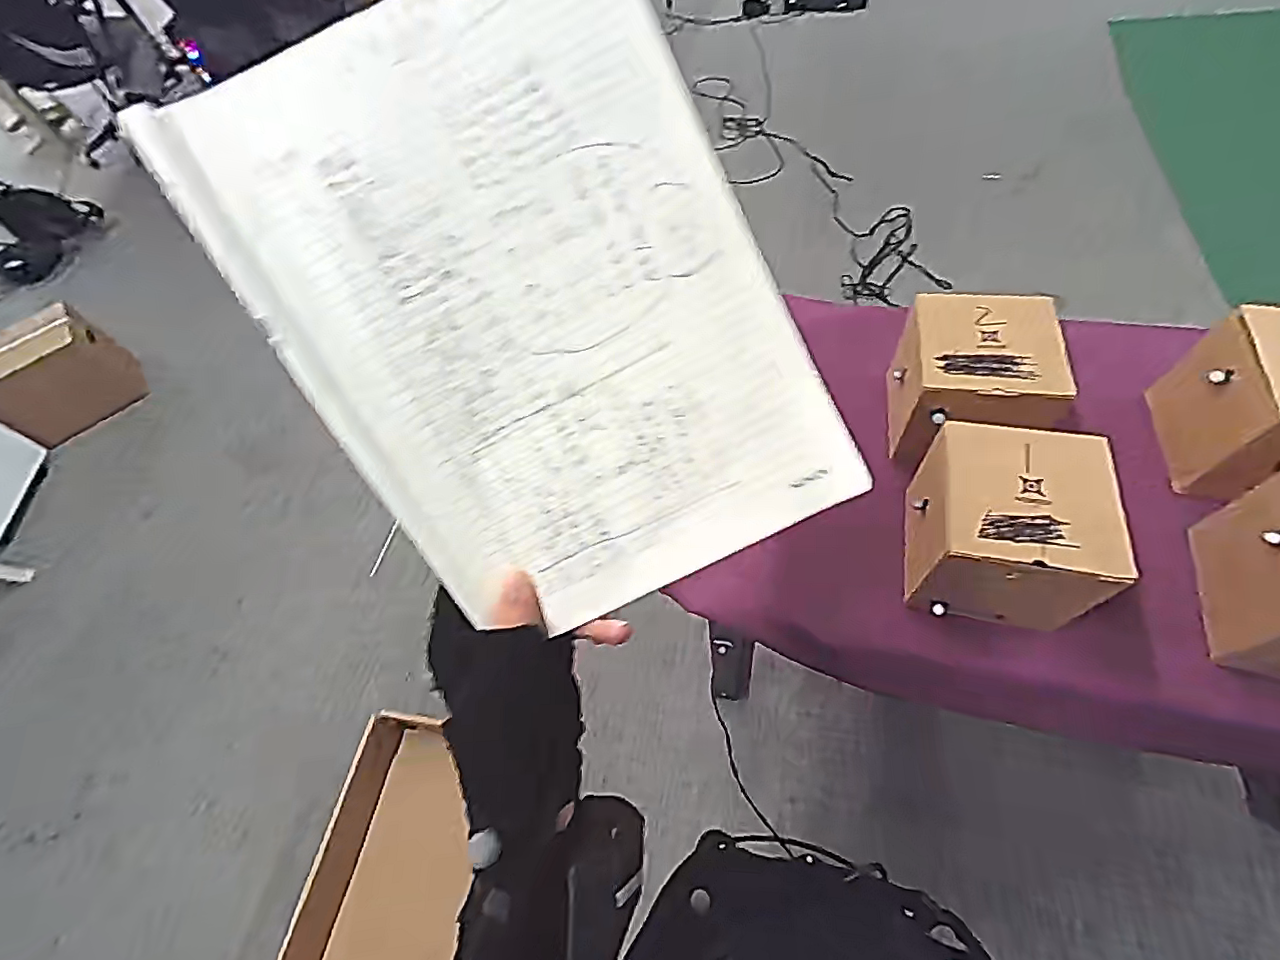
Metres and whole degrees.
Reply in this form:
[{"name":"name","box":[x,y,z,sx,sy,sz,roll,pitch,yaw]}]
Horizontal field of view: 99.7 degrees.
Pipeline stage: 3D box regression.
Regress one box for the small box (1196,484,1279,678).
[{"name":"small box","box":[0.735,0.107,0.558,0.168,0.176,0.179,12,61,17]}]

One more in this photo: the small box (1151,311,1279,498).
[{"name":"small box","box":[0.795,-0.083,0.670,0.168,0.176,0.179,7,60,14]}]

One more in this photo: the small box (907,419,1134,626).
[{"name":"small box","box":[0.427,0.055,0.639,0.168,0.176,0.179,10,60,15]}]
